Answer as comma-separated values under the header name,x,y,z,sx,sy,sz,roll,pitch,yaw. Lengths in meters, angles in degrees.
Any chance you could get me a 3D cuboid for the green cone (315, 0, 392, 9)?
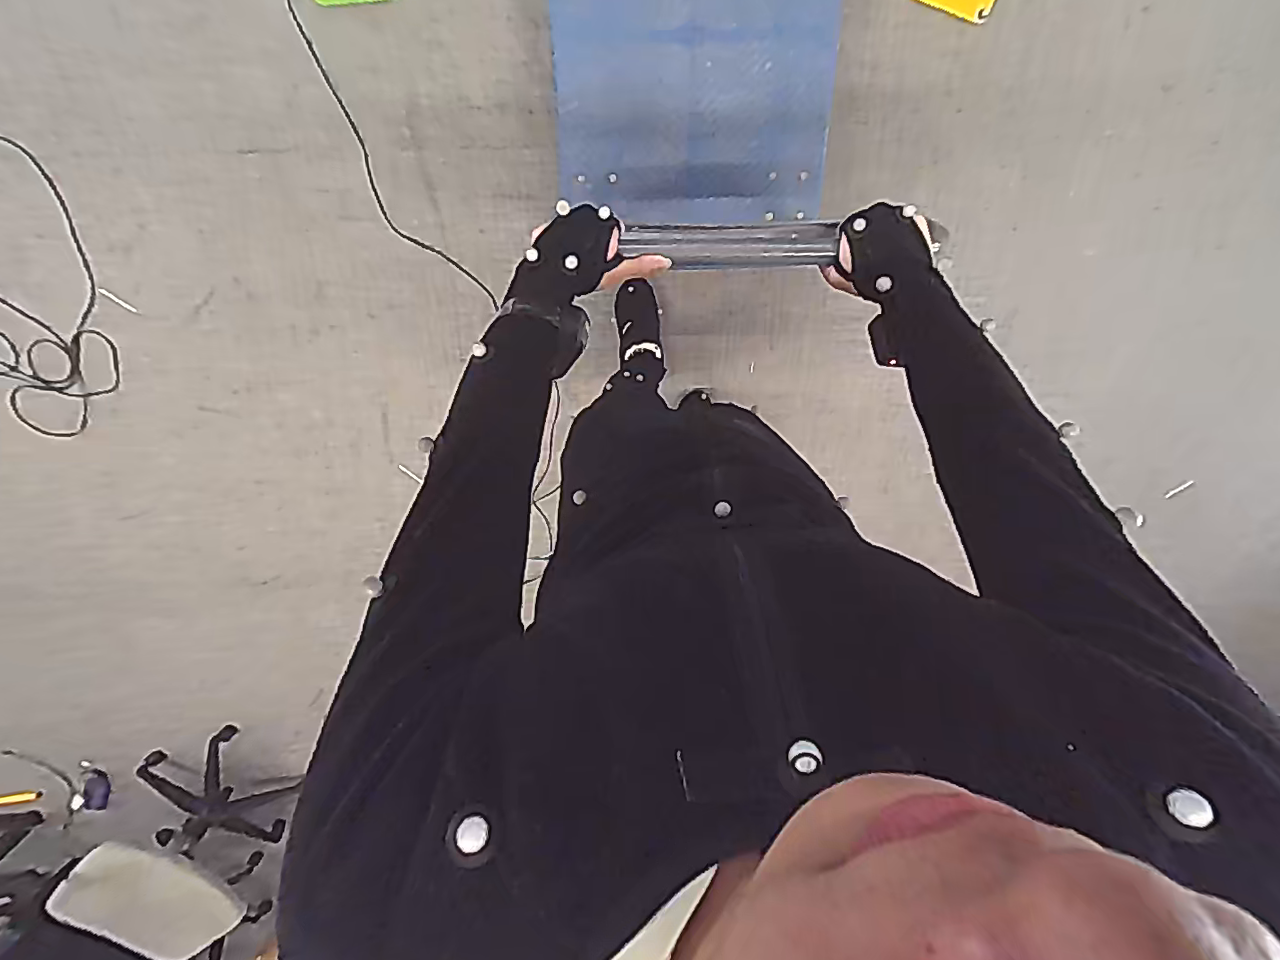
name,x,y,z,sx,sy,sz,roll,pitch,yaw
green cone,-0.622,-1.058,0.981,0.202,0.368,0.200,-4,114,3
